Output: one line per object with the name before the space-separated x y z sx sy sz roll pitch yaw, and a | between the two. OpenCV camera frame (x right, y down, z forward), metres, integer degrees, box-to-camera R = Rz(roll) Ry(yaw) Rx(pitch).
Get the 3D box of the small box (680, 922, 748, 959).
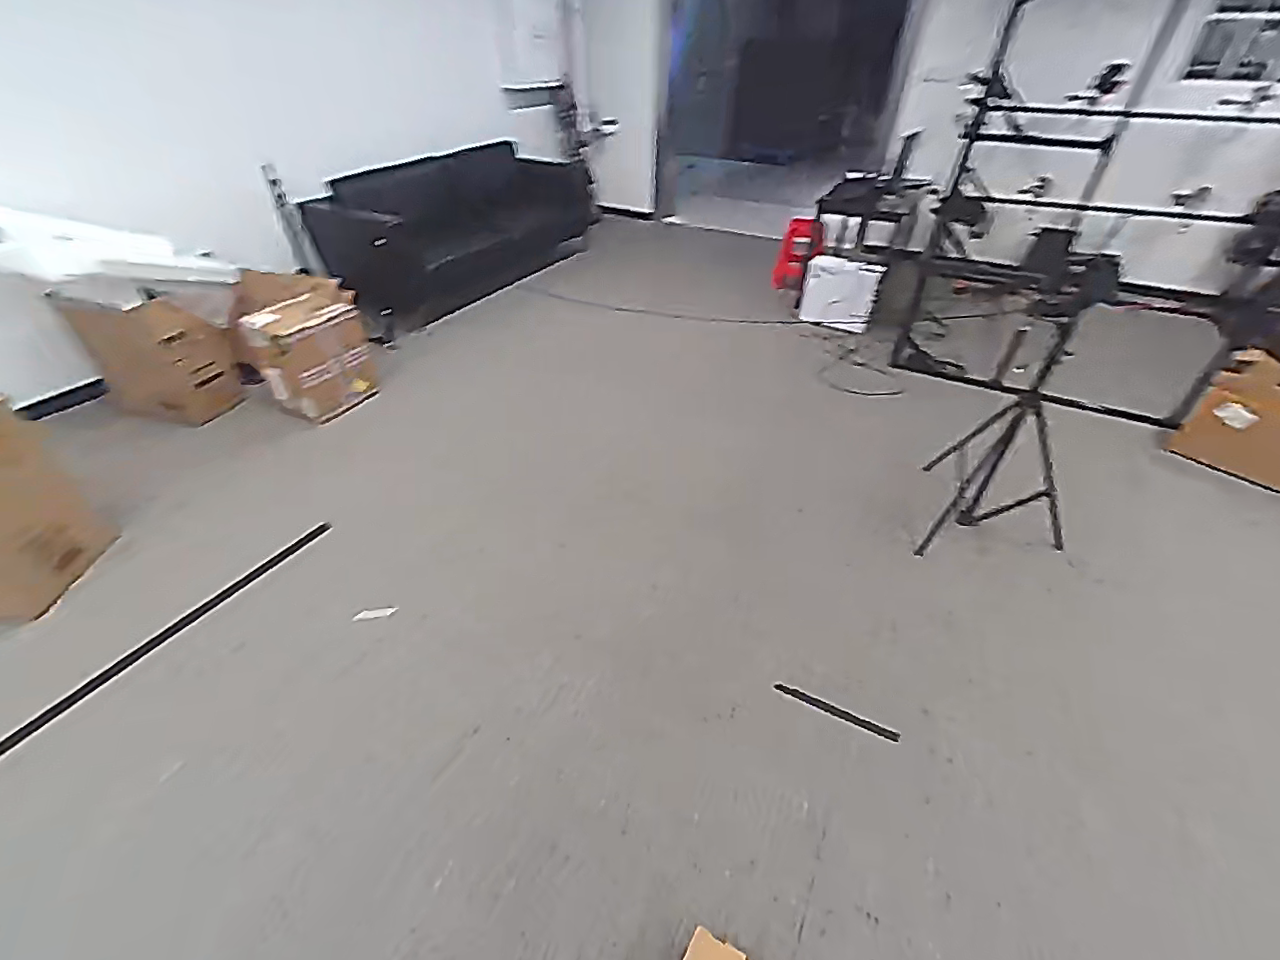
small box | 0.134 1.031 1.057 0.168 0.176 0.179 23 43 24
